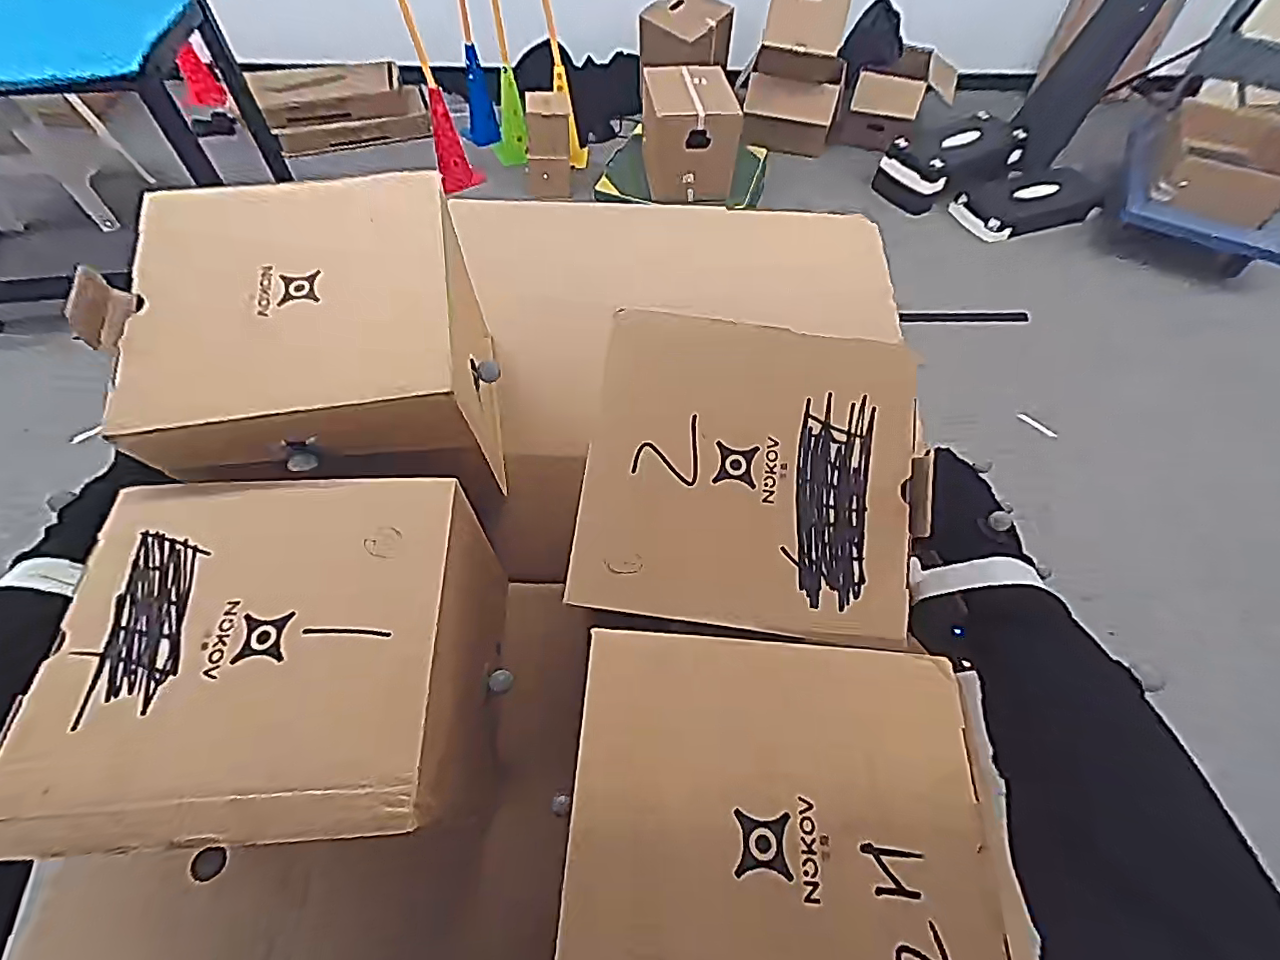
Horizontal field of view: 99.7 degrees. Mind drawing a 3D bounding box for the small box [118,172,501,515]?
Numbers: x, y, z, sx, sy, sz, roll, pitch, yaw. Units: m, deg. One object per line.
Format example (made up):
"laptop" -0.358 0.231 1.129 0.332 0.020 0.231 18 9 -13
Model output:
"small box" -0.204 -0.085 0.392 0.179 0.176 0.168 -9 68 -5
